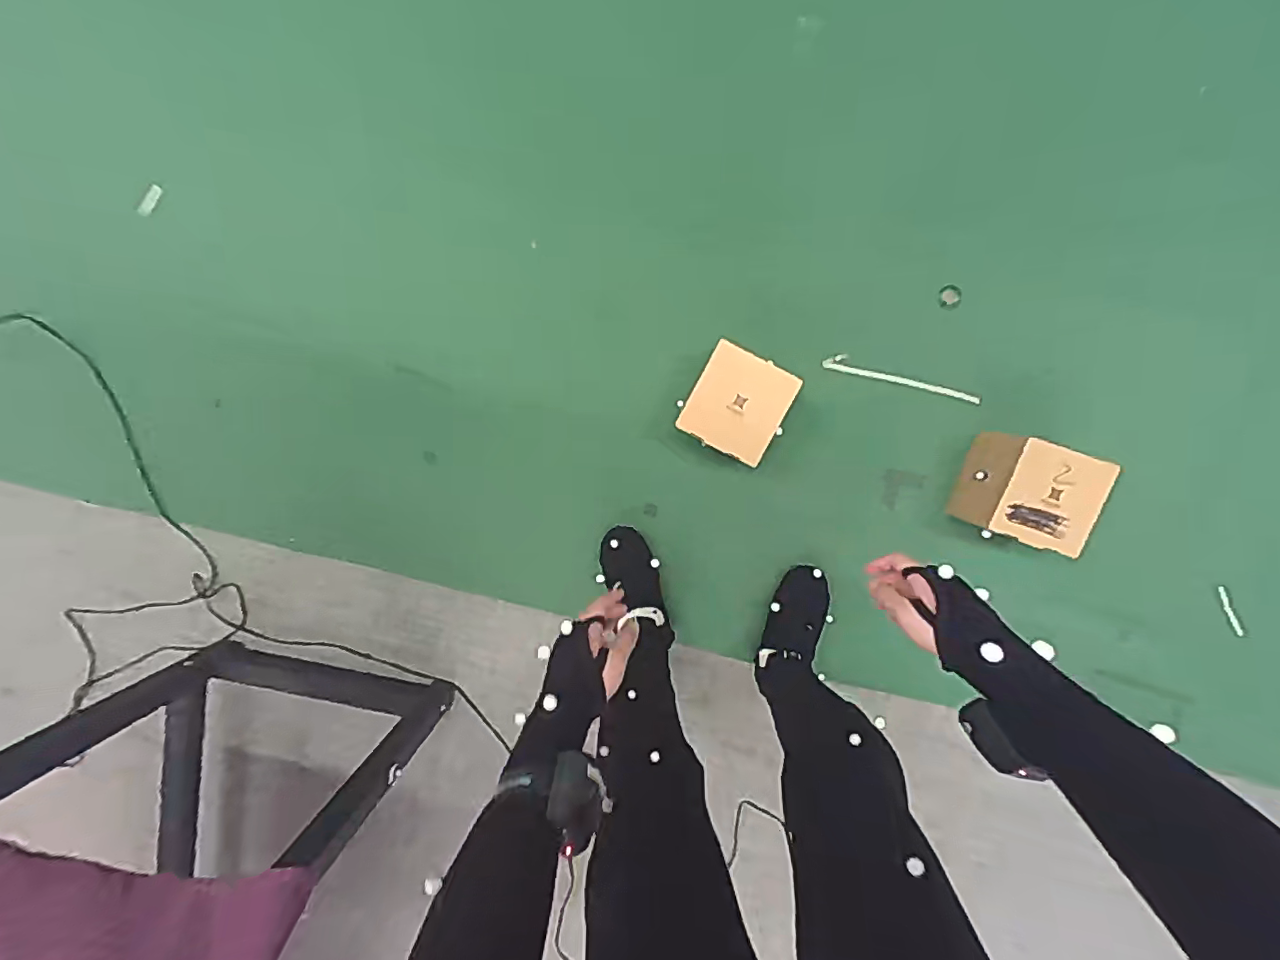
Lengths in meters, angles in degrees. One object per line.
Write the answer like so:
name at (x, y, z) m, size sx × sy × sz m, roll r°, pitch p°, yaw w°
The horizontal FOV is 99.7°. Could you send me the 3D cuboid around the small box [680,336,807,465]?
small box at (0.186, -0.150, 1.026) m, size 0.168 × 0.176 × 0.179 m, roll 28°, pitch 100°, yaw 0°
